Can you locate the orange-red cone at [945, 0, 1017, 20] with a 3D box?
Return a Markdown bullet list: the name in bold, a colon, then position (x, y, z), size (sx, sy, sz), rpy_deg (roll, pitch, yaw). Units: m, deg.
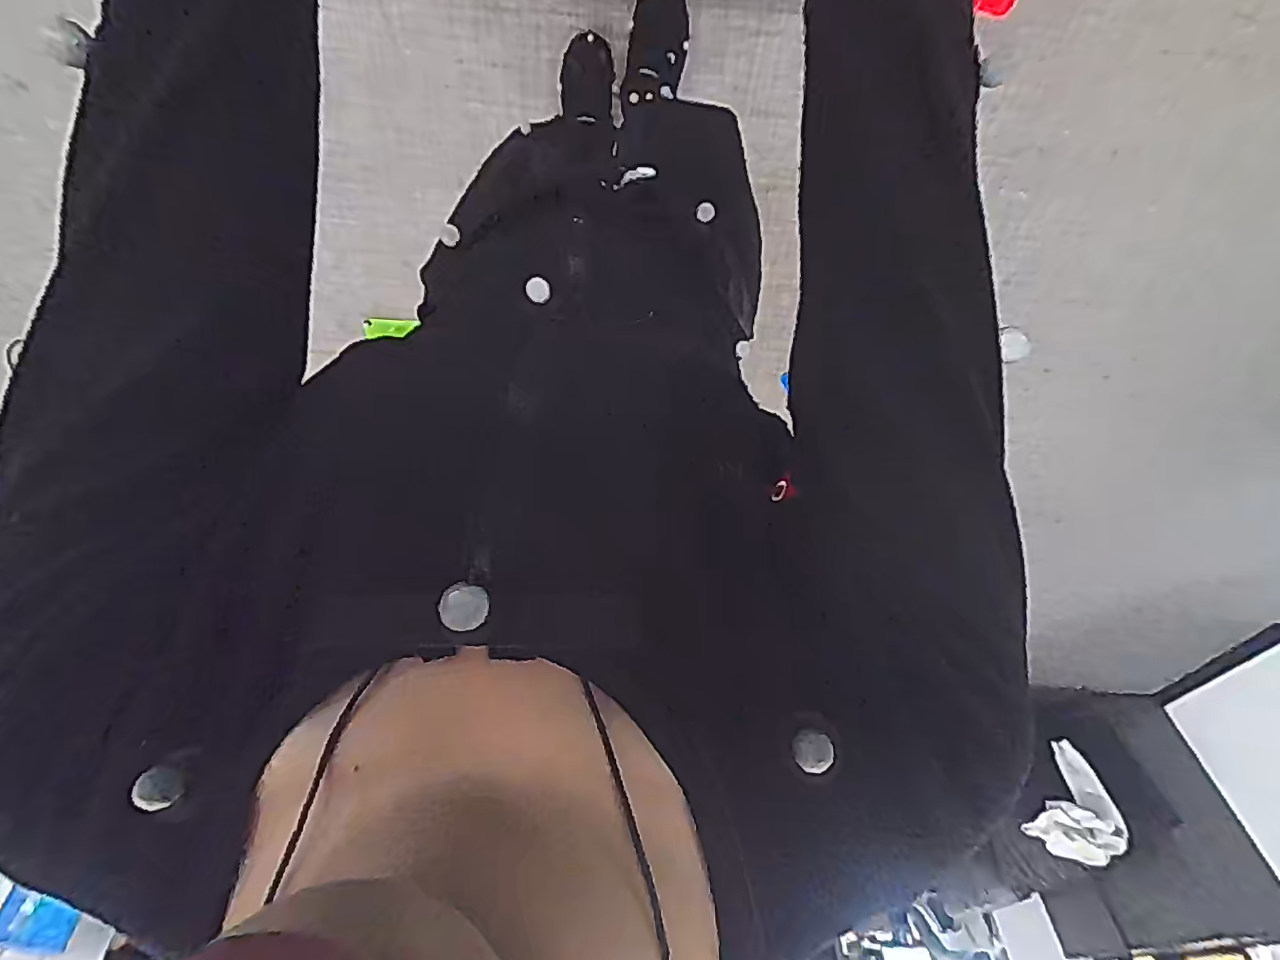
- **orange-red cone**: position (0.630, -0.845, 0.841), size (0.198, 0.360, 0.199), rpy_deg (12, 135, -10)
